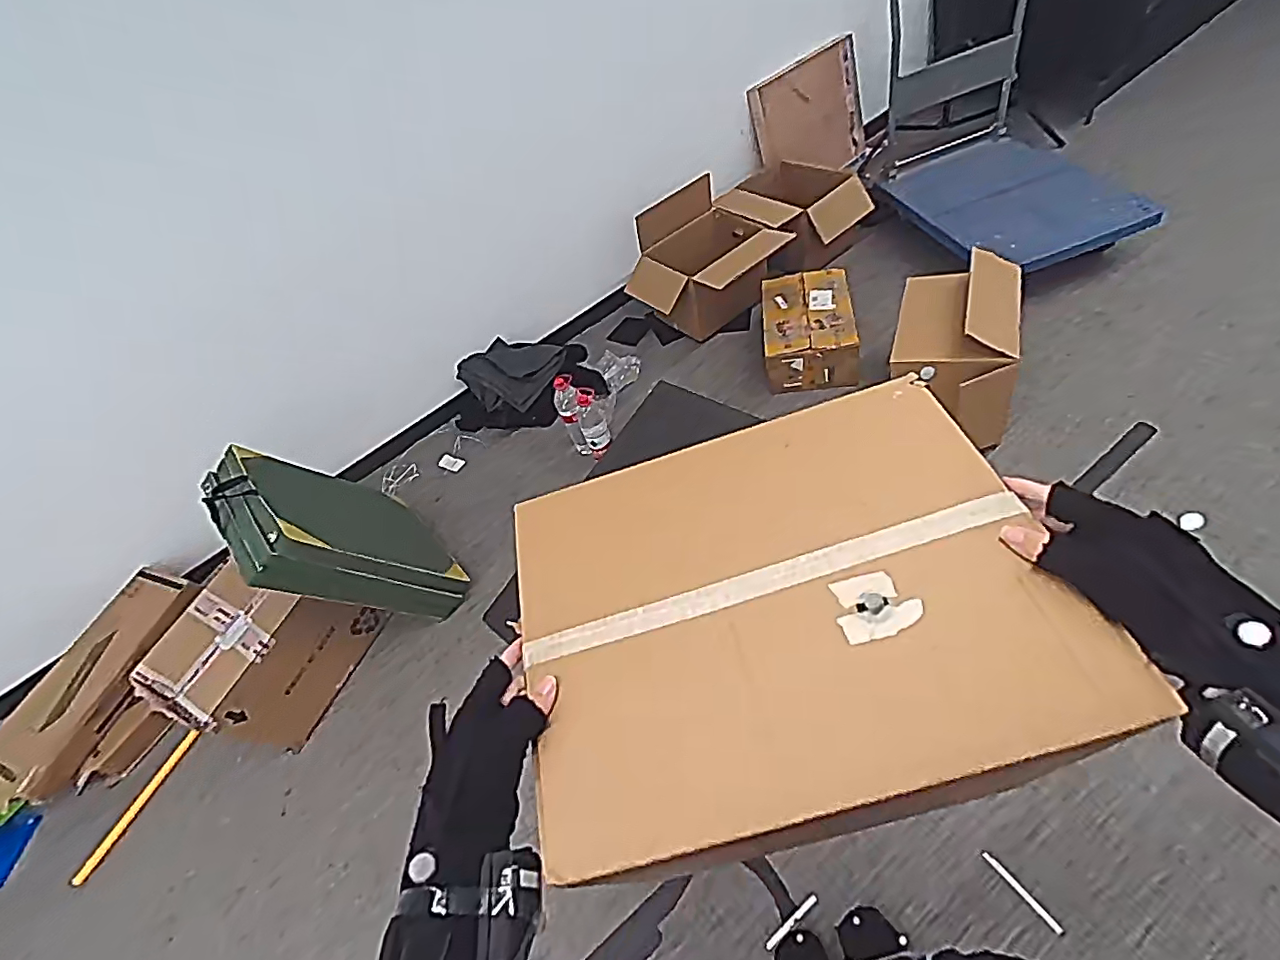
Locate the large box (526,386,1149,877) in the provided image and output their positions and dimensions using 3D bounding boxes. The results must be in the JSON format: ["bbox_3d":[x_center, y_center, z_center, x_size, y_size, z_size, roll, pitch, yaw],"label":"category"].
[{"bbox_3d":[0.138,0.171,0.557,0.408,0.320,0.320,-18,52,3],"label":"large box"}]
